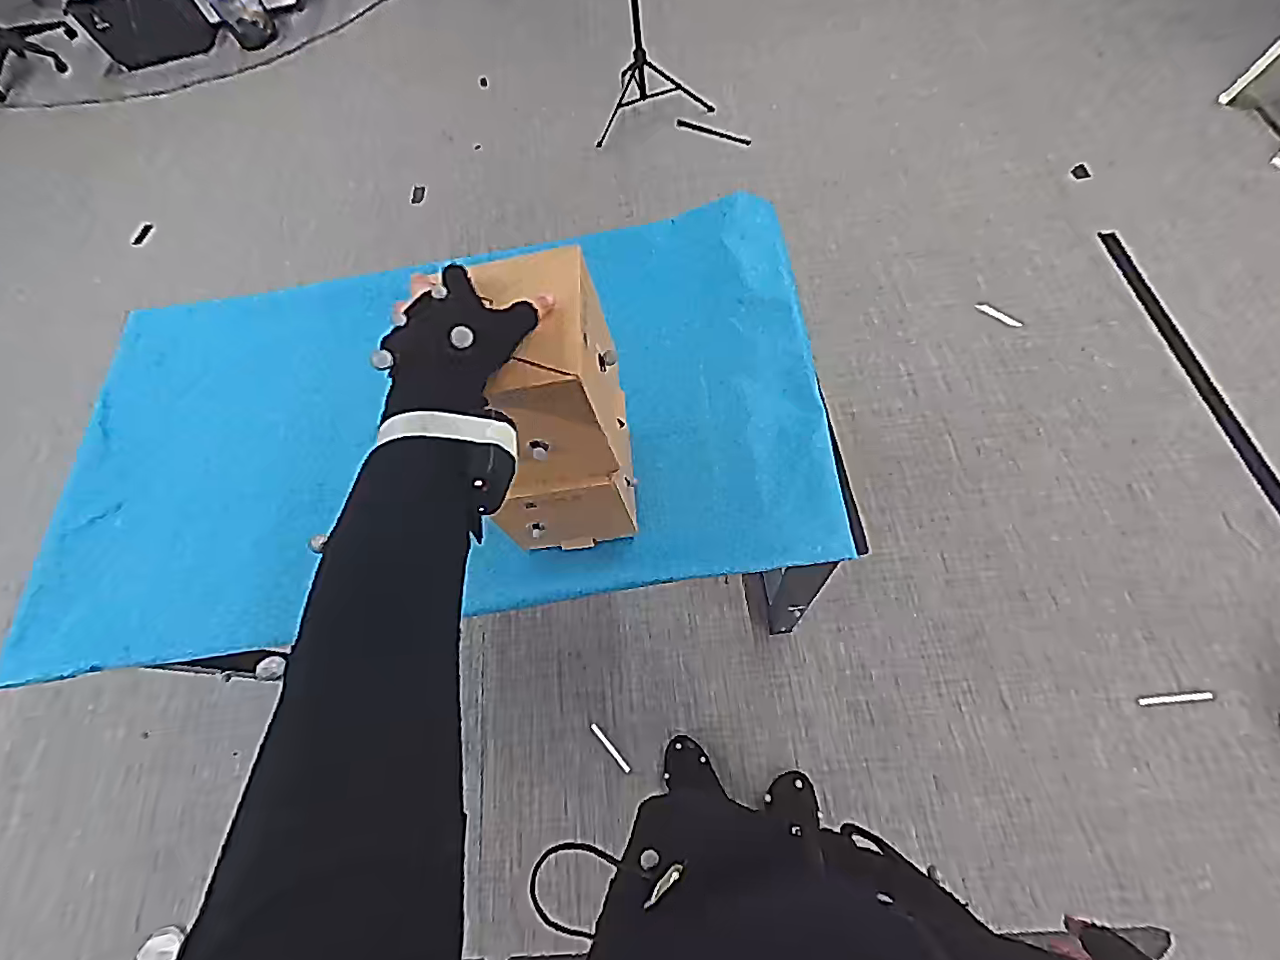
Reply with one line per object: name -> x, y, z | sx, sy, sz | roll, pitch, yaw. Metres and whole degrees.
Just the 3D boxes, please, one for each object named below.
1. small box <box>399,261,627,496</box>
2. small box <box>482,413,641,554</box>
small box -> -0.121, -0.103, 0.575 | 0.179, 0.176, 0.168 | -9, 61, 9
small box -> -0.100, -0.022, 0.716 | 0.168, 0.176, 0.179 | -9, 62, 6
